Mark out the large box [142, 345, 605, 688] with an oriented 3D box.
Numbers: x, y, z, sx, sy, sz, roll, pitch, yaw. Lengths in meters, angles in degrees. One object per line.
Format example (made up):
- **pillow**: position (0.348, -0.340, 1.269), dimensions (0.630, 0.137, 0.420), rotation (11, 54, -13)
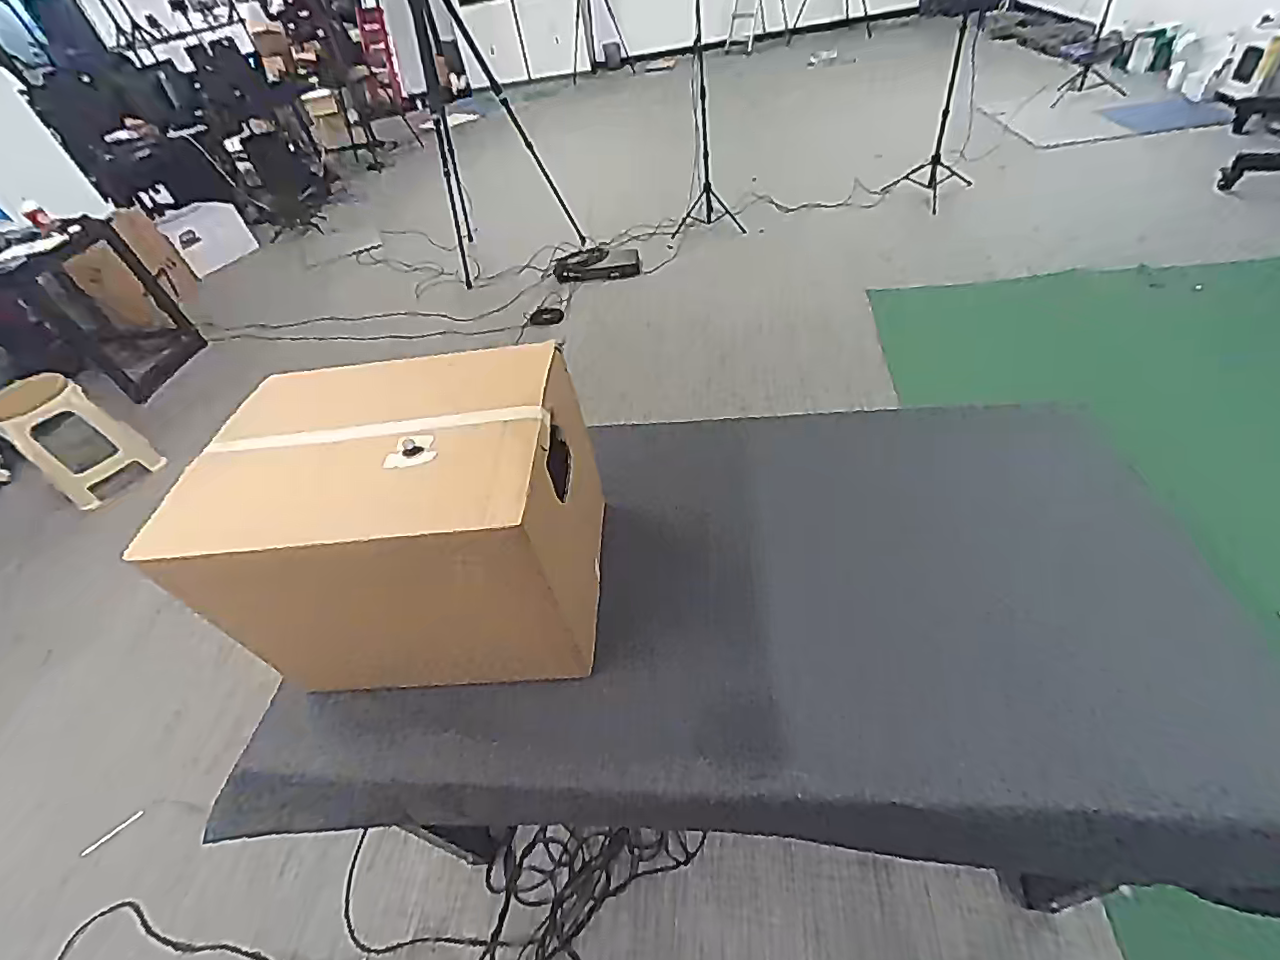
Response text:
- **large box**: position (-0.273, 0.054, 0.717), dimensions (0.408, 0.320, 0.320), rotation (-5, 46, 5)
